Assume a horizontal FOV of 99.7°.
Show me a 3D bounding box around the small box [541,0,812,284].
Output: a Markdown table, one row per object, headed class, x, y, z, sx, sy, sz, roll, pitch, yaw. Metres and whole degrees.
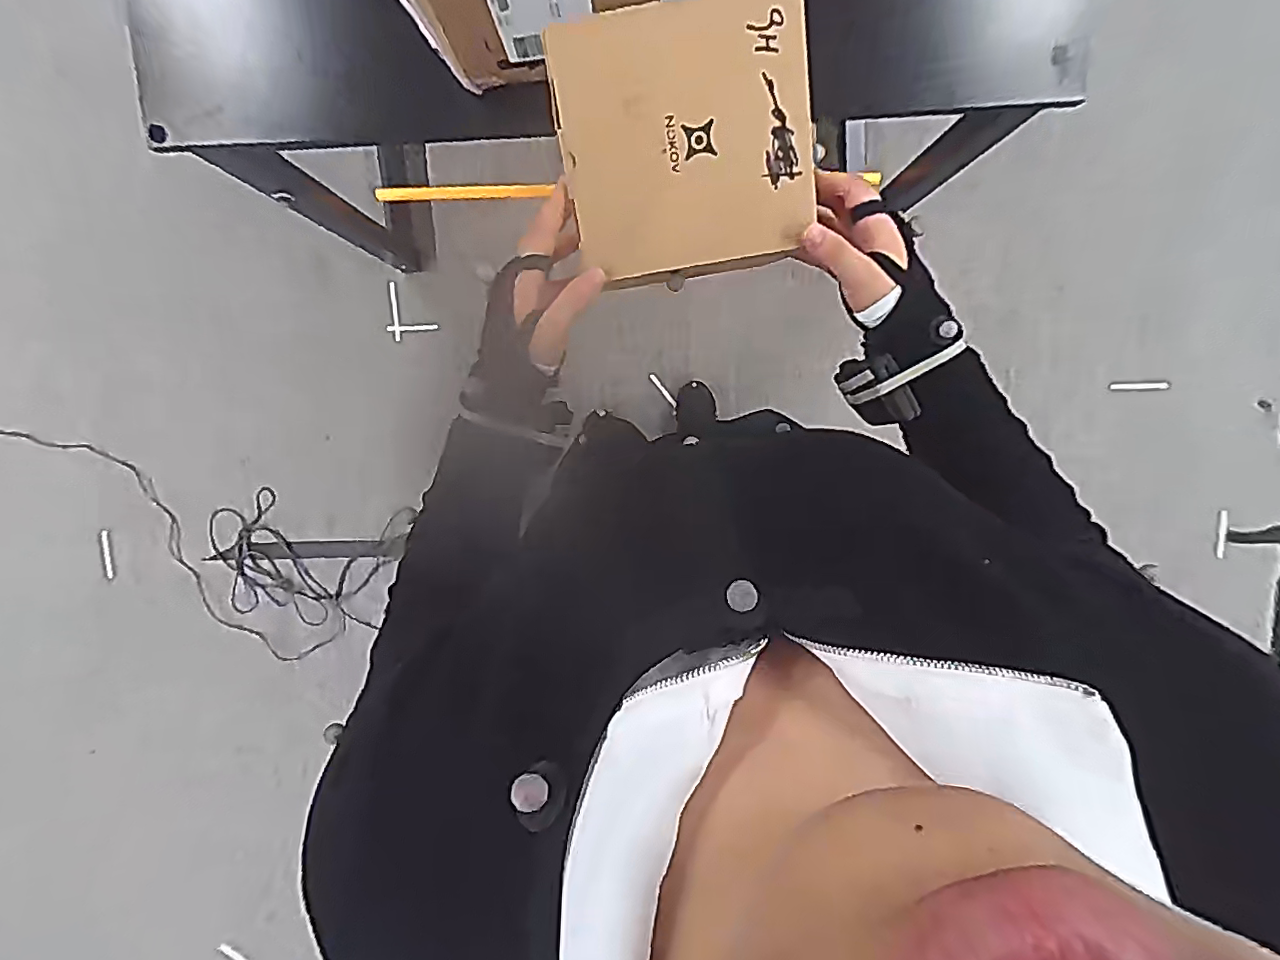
| class | x | y | z | sx | sy | sz | roll | pitch | yaw |
| --- | --- | --- | --- | --- | --- | --- | --- | --- | --- |
| small box | 0.031 | -0.268 | 0.457 | 0.179 | 0.176 | 0.168 | -8 | 106 | 3 |
